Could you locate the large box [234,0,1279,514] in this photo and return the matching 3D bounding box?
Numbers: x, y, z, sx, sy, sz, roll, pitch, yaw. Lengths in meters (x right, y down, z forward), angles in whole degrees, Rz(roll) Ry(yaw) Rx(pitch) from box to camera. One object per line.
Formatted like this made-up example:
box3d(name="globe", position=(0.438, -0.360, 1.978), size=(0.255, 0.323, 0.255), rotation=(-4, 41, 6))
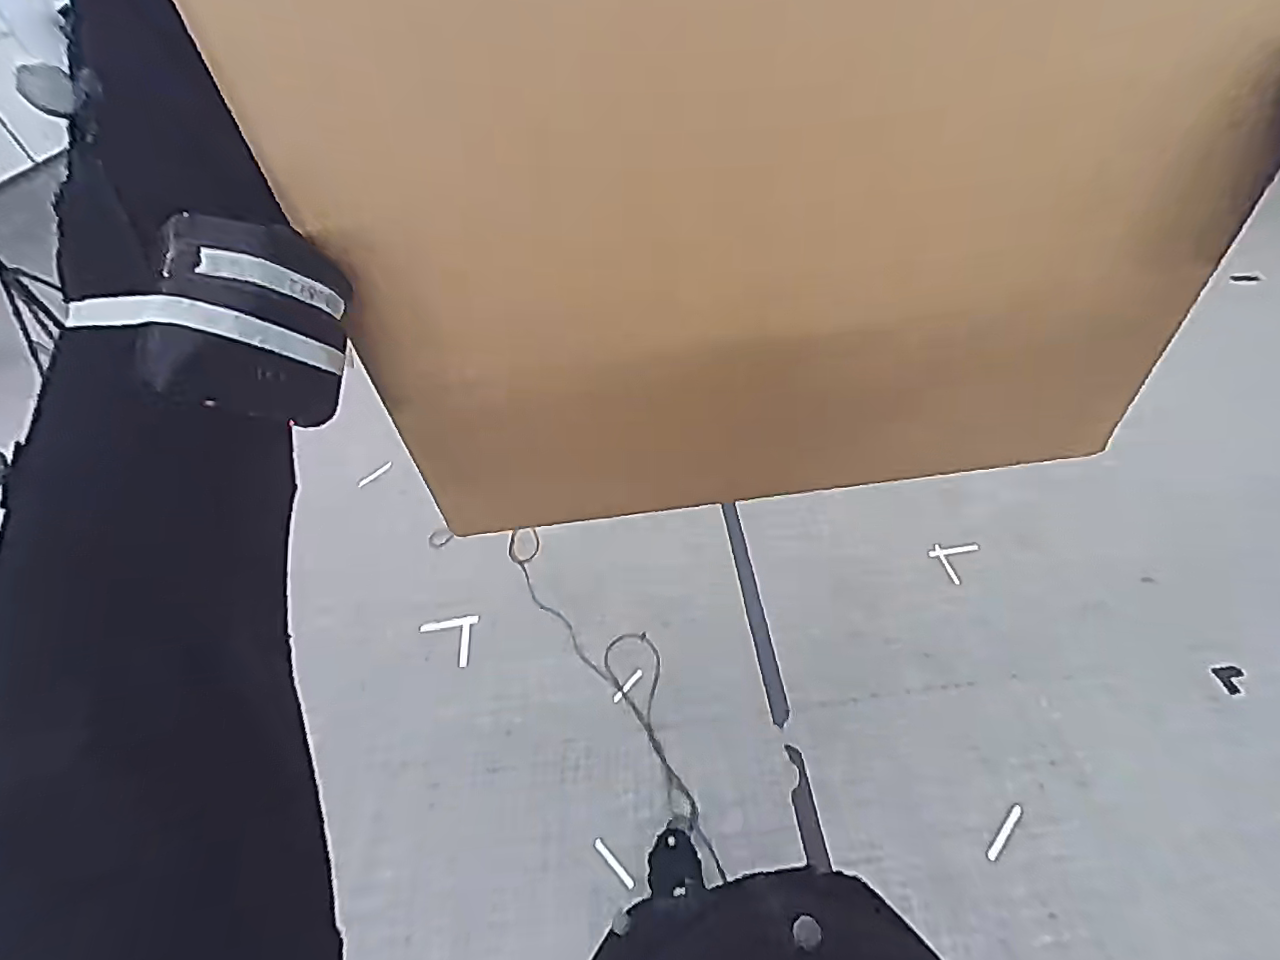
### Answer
box3d(name="large box", position=(0.051, -0.210, 0.357), size=(0.408, 0.320, 0.320), rotation=(-8, 43, -1))
